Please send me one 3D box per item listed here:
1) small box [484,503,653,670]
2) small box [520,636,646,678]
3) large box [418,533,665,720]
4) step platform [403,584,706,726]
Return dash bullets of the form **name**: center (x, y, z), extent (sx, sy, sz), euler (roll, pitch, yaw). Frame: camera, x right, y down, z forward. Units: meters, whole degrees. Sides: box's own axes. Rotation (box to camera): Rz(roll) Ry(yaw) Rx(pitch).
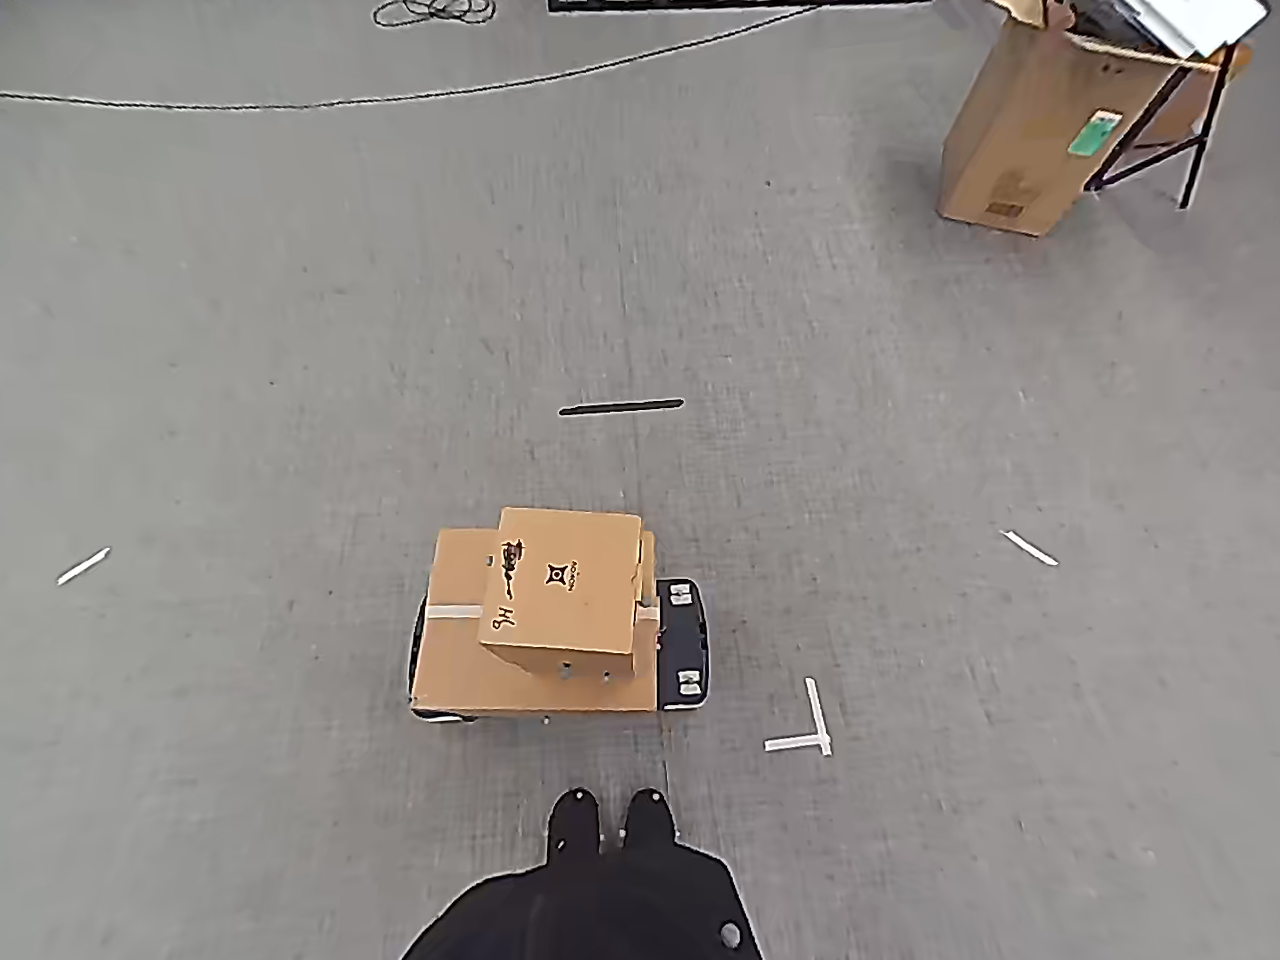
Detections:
- **small box**: center (-0.079, 0.143, 0.692), extent (0.179, 0.176, 0.168), euler (4, 63, 1)
- **small box**: center (-0.078, 0.211, 0.842), extent (0.179, 0.176, 0.168), euler (2, 64, 2)
- **large box**: center (-0.159, 0.302, 1.069), extent (0.408, 0.320, 0.320), euler (0, 63, 1)
- **step platform**: center (-0.186, 0.412, 1.280), extent (0.684, 0.204, 0.286), euler (2, 64, 2)
